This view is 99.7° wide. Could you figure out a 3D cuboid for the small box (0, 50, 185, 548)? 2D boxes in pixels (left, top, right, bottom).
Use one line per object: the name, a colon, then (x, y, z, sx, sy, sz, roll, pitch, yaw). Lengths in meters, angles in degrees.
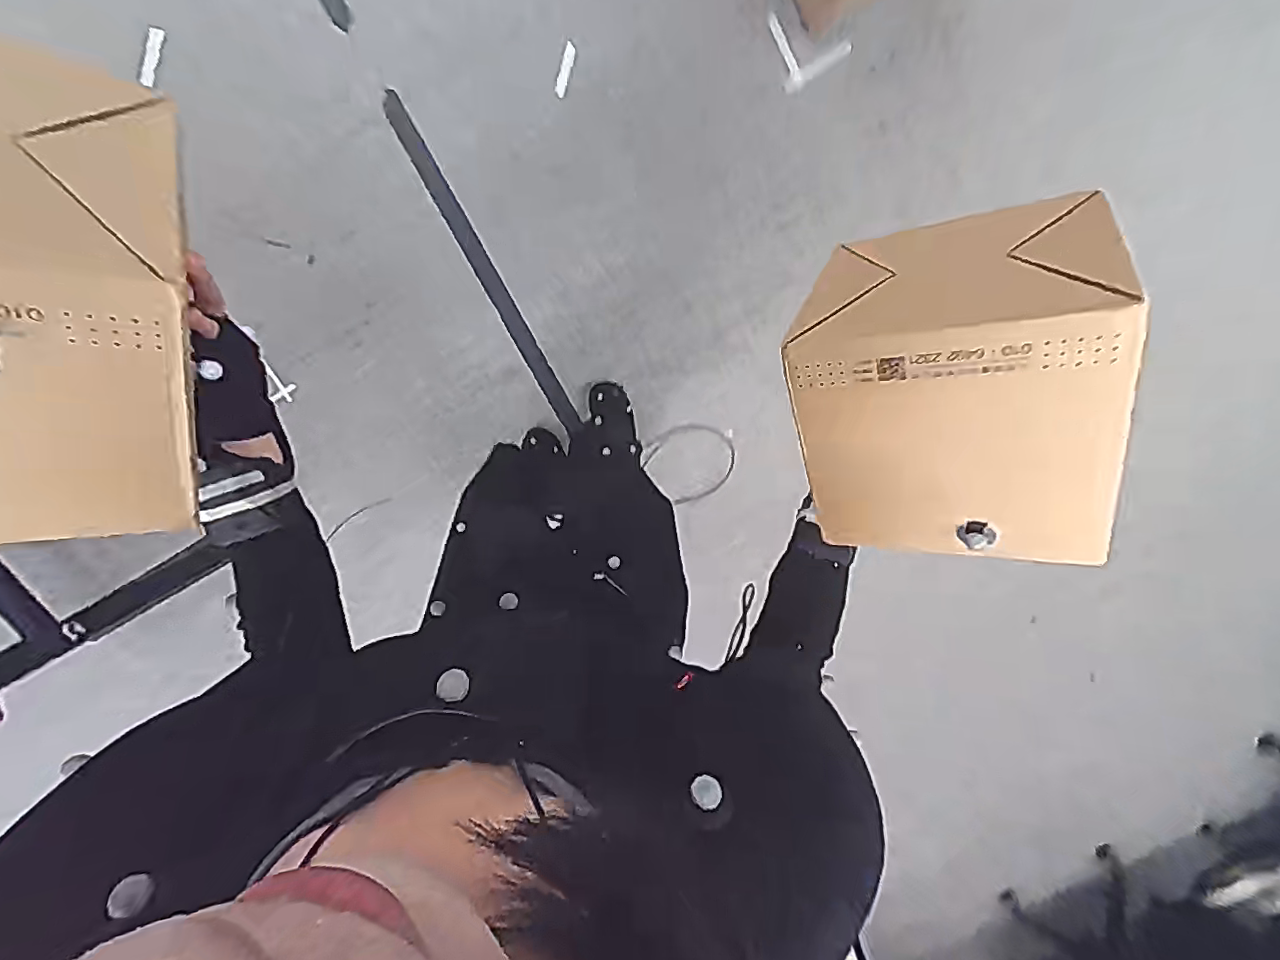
small box: (-0.319, -0.084, 0.244, 0.168, 0.179, 0.176, -3, 142, -36)
